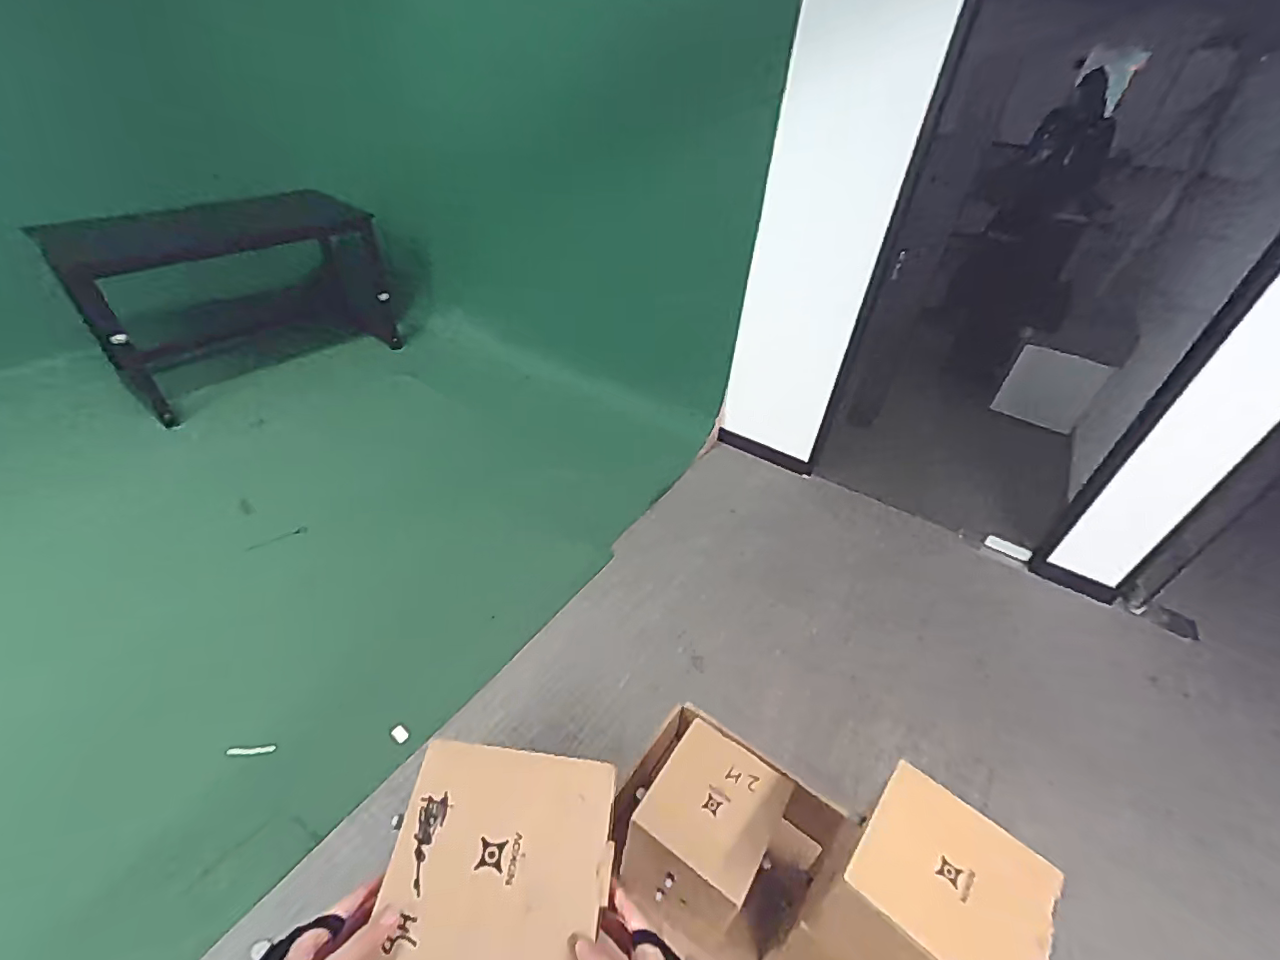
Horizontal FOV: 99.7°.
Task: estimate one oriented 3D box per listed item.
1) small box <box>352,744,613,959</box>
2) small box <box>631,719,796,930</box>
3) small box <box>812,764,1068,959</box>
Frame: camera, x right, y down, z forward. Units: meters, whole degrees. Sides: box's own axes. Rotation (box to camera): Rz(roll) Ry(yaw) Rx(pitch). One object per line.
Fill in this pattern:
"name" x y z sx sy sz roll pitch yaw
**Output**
"small box" -0.131 0.366 0.499 0.179 0.176 0.168 10 47 -4
"small box" 0.100 0.500 0.787 0.168 0.176 0.179 28 46 24
"small box" 0.317 0.469 0.596 0.179 0.176 0.168 31 46 29
